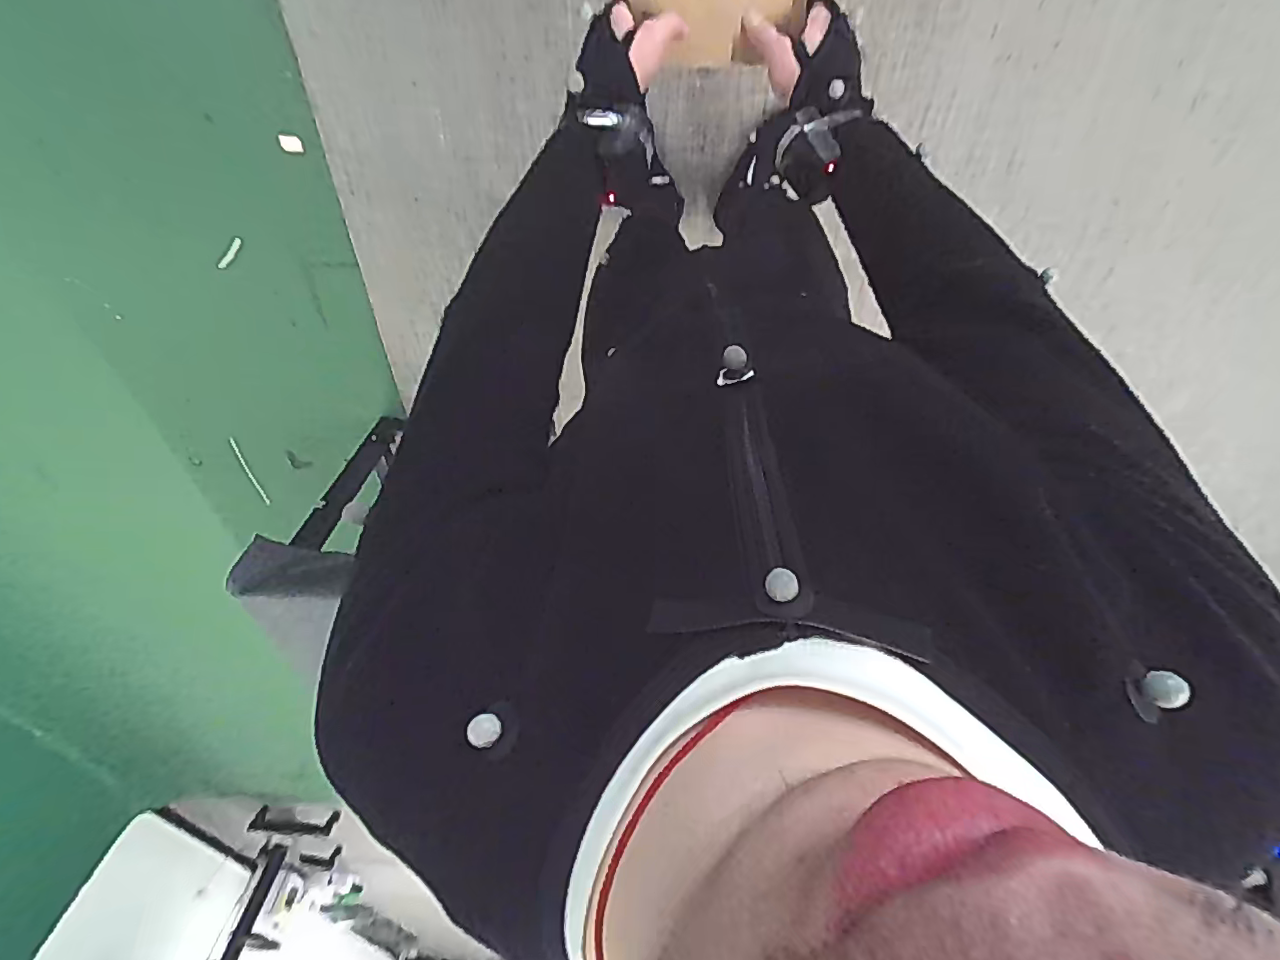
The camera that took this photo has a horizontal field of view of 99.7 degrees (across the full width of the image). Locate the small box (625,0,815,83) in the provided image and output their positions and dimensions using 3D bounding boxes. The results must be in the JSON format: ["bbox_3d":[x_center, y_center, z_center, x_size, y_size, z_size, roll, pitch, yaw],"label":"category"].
[{"bbox_3d":[0.073,-0.506,0.540,0.179,0.176,0.168,0,130,1],"label":"small box"}]
